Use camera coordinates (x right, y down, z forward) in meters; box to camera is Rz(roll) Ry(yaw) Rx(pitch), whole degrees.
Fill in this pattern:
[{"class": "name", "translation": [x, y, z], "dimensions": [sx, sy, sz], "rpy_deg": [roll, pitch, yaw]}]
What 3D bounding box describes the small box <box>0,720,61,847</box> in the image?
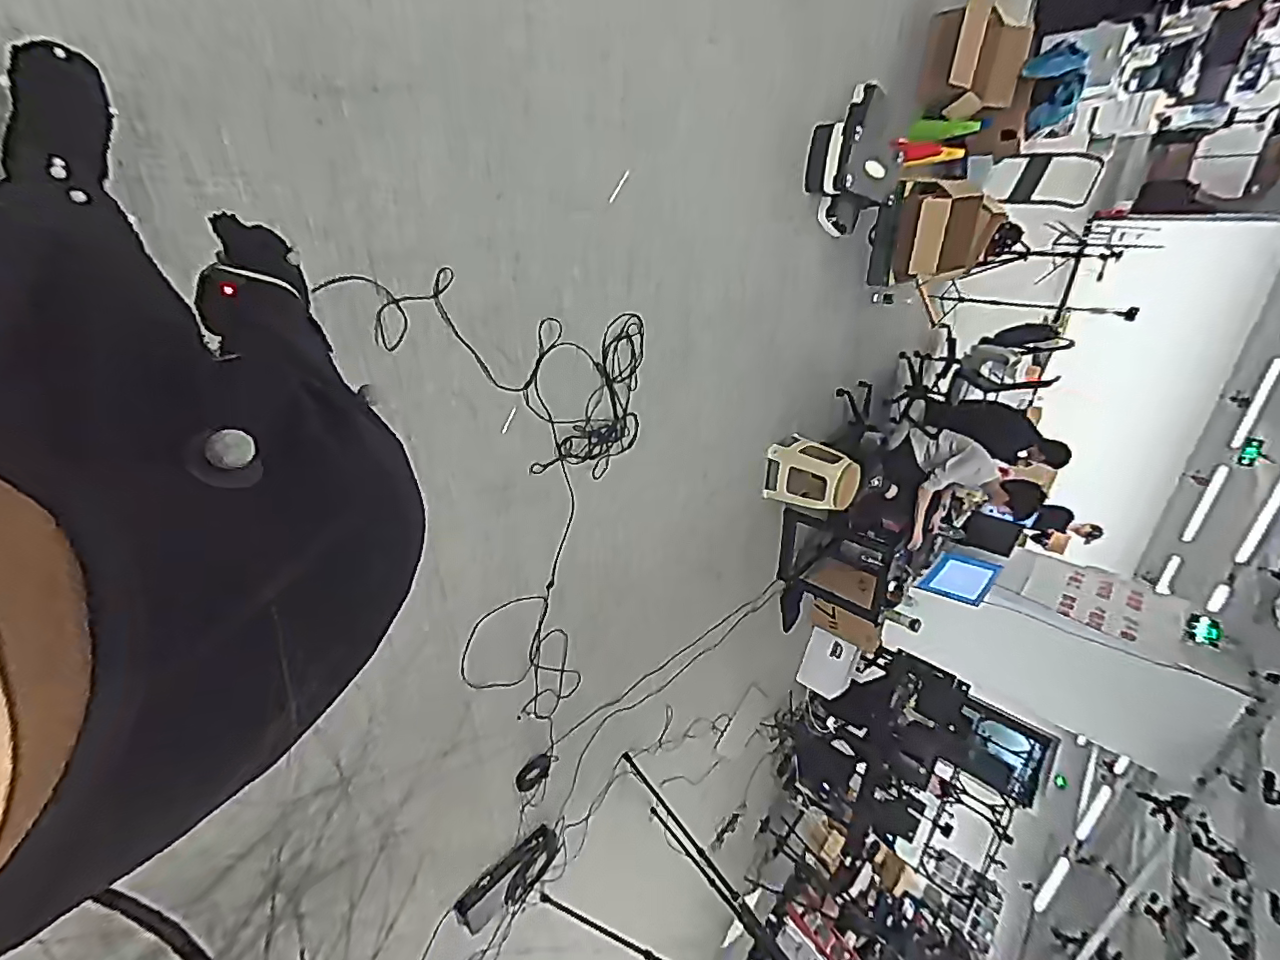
[{"class": "small box", "translation": [-1.286, 0.604, 1.055], "dimensions": [0.168, 0.176, 0.179], "rpy_deg": [-24, 124, -40]}]
